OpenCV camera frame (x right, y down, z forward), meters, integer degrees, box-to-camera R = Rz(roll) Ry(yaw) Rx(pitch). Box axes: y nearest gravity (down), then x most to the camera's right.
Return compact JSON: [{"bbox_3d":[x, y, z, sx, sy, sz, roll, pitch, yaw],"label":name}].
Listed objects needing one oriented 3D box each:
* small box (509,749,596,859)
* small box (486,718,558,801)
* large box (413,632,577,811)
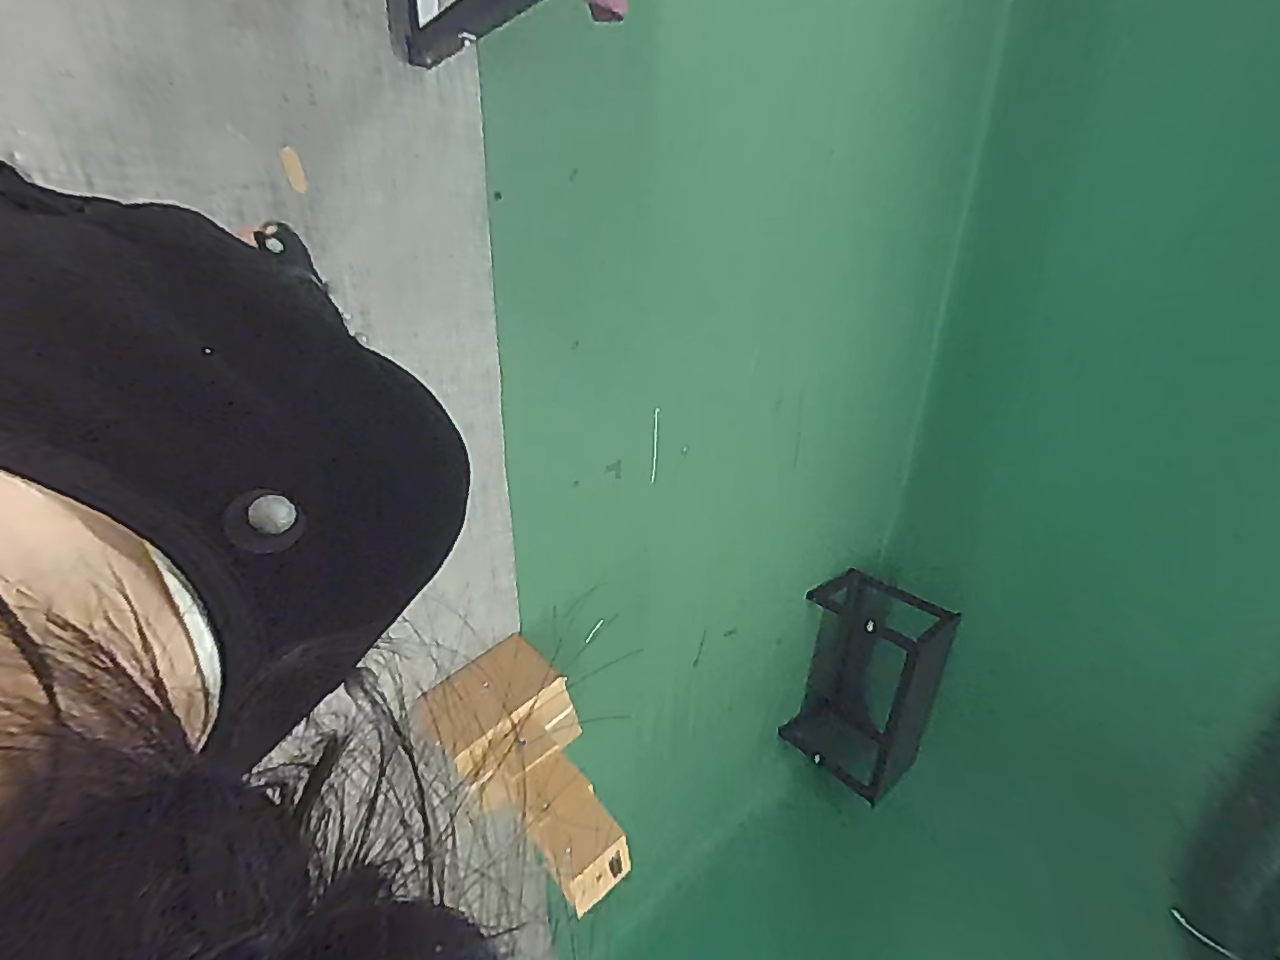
[{"bbox_3d":[-0.253,0.928,1.565,0.179,0.176,0.168,-24,123,-34],"label":"small box"},{"bbox_3d":[-0.357,0.872,1.676,0.168,0.176,0.179,-26,123,-33],"label":"small box"},{"bbox_3d":[-0.495,0.814,1.874,0.408,0.320,0.320,-32,128,-32],"label":"large box"}]
